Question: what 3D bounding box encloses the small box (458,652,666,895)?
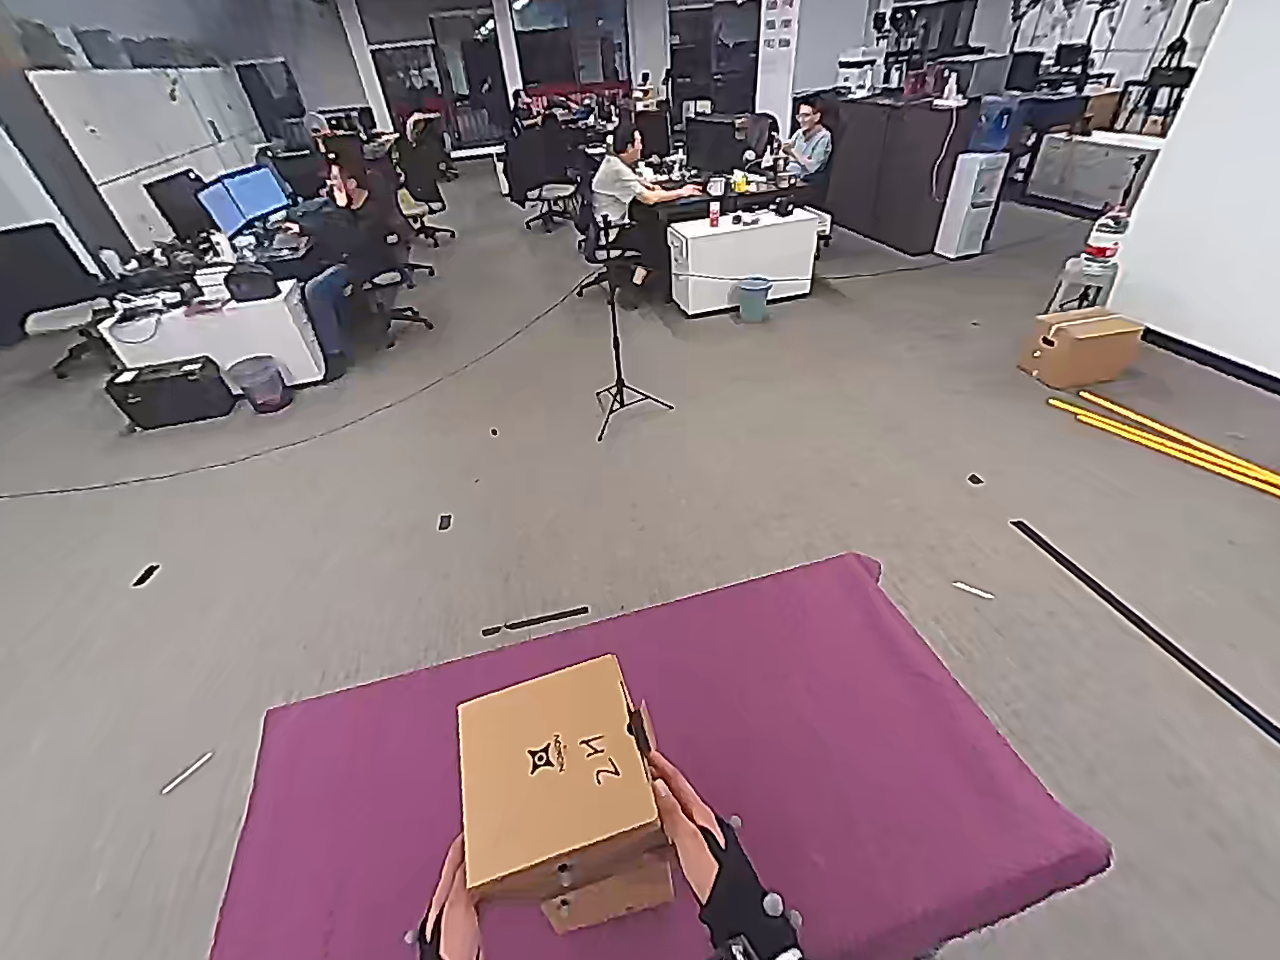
[{"bbox_3d":[-0.081,0.320,0.586,0.179,0.176,0.168,-16,47,-6],"label":"small box"}]
